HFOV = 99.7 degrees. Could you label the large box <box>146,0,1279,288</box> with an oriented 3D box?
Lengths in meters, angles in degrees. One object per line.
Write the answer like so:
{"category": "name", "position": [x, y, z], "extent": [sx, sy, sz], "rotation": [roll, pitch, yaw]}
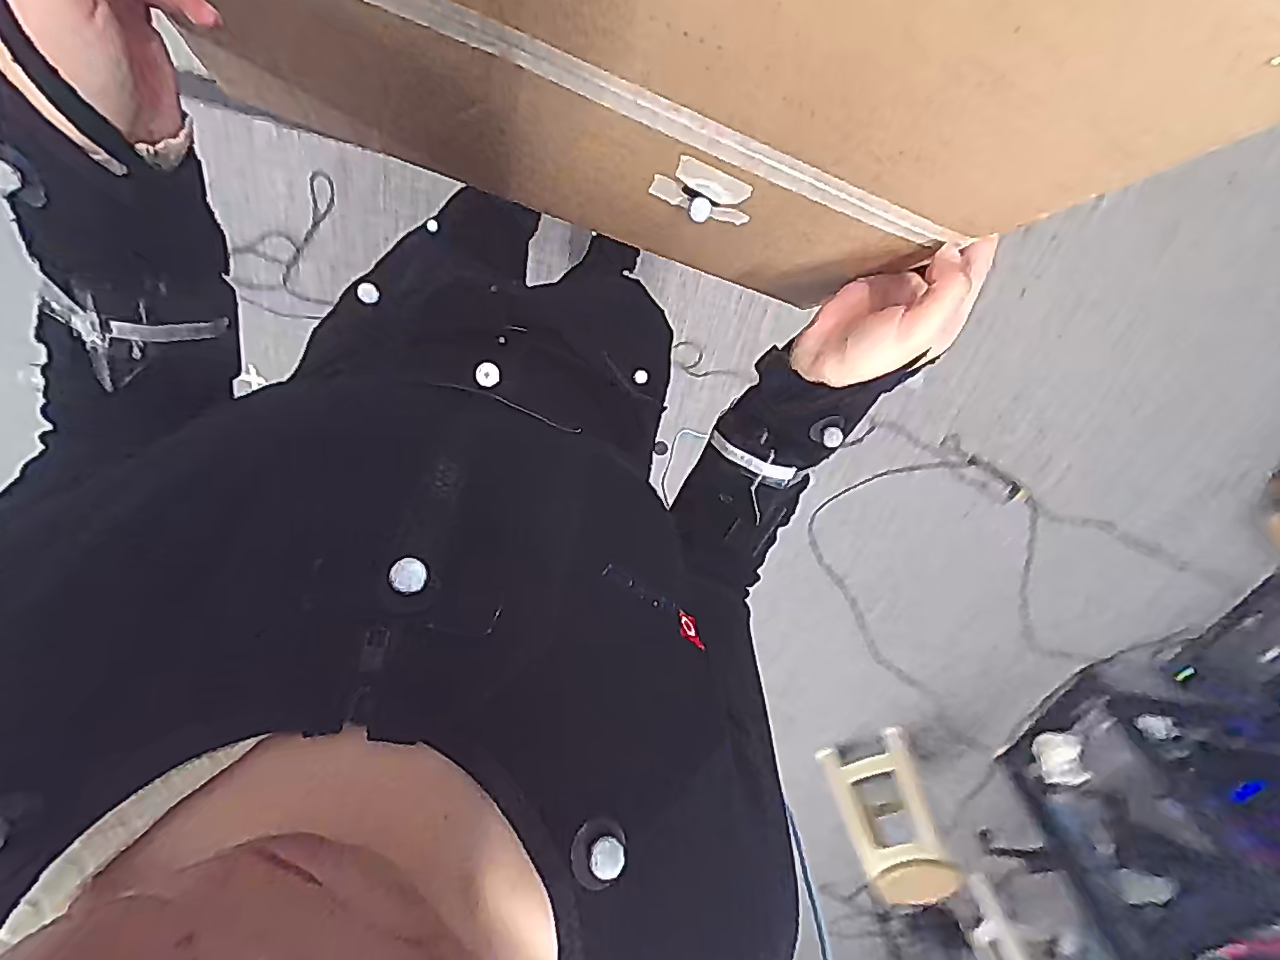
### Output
{"category": "large box", "position": [0.009, -0.326, 0.231], "extent": [0.408, 0.320, 0.320], "rotation": [11, 92, -15]}
